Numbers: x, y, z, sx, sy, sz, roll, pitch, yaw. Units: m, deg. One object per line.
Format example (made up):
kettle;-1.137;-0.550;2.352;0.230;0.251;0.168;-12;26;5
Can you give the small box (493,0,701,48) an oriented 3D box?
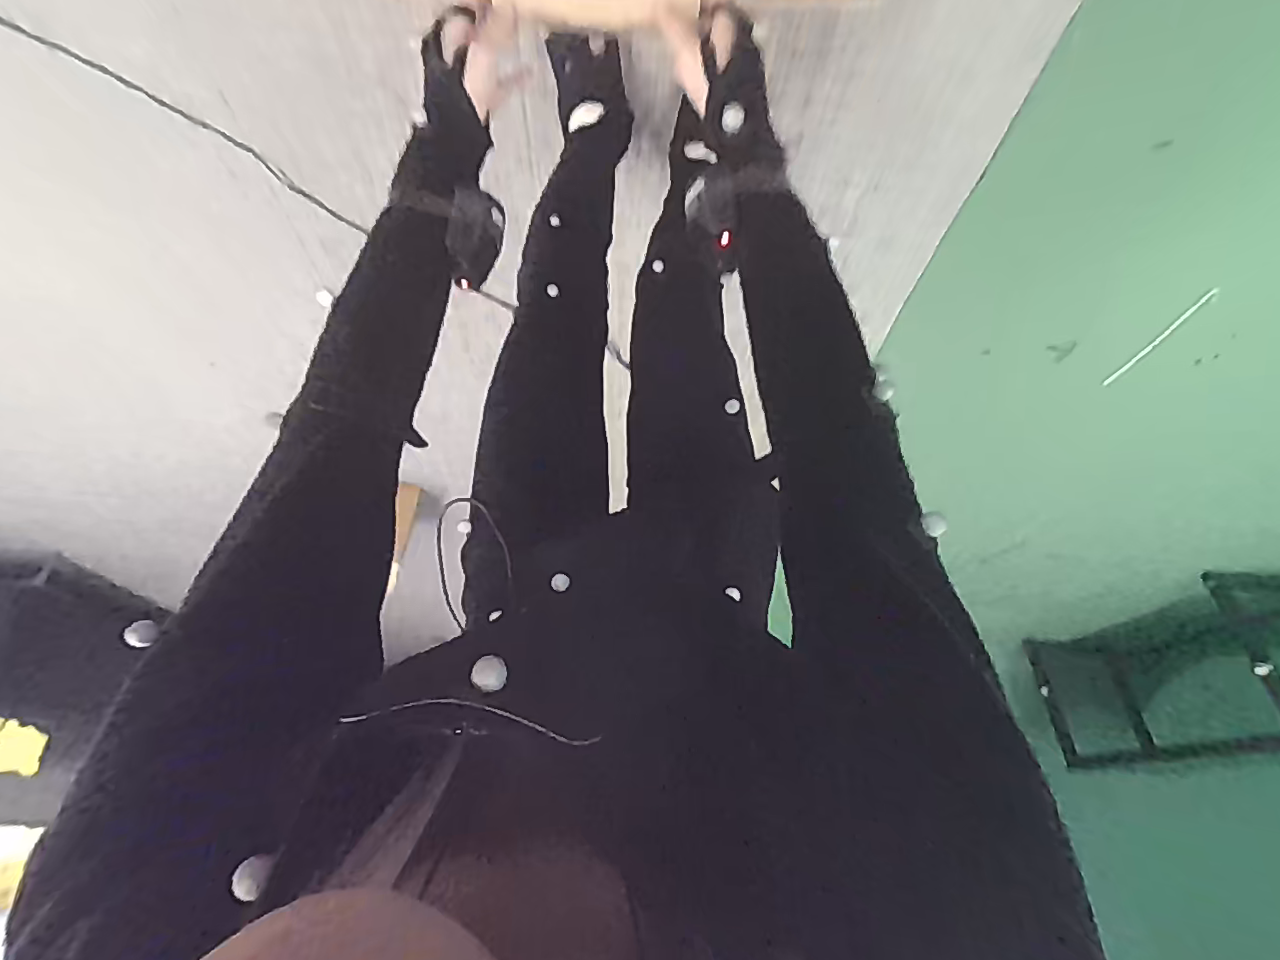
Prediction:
small box;-0.030;-0.478;0.443;0.168;0.176;0.179;3;127;-5
